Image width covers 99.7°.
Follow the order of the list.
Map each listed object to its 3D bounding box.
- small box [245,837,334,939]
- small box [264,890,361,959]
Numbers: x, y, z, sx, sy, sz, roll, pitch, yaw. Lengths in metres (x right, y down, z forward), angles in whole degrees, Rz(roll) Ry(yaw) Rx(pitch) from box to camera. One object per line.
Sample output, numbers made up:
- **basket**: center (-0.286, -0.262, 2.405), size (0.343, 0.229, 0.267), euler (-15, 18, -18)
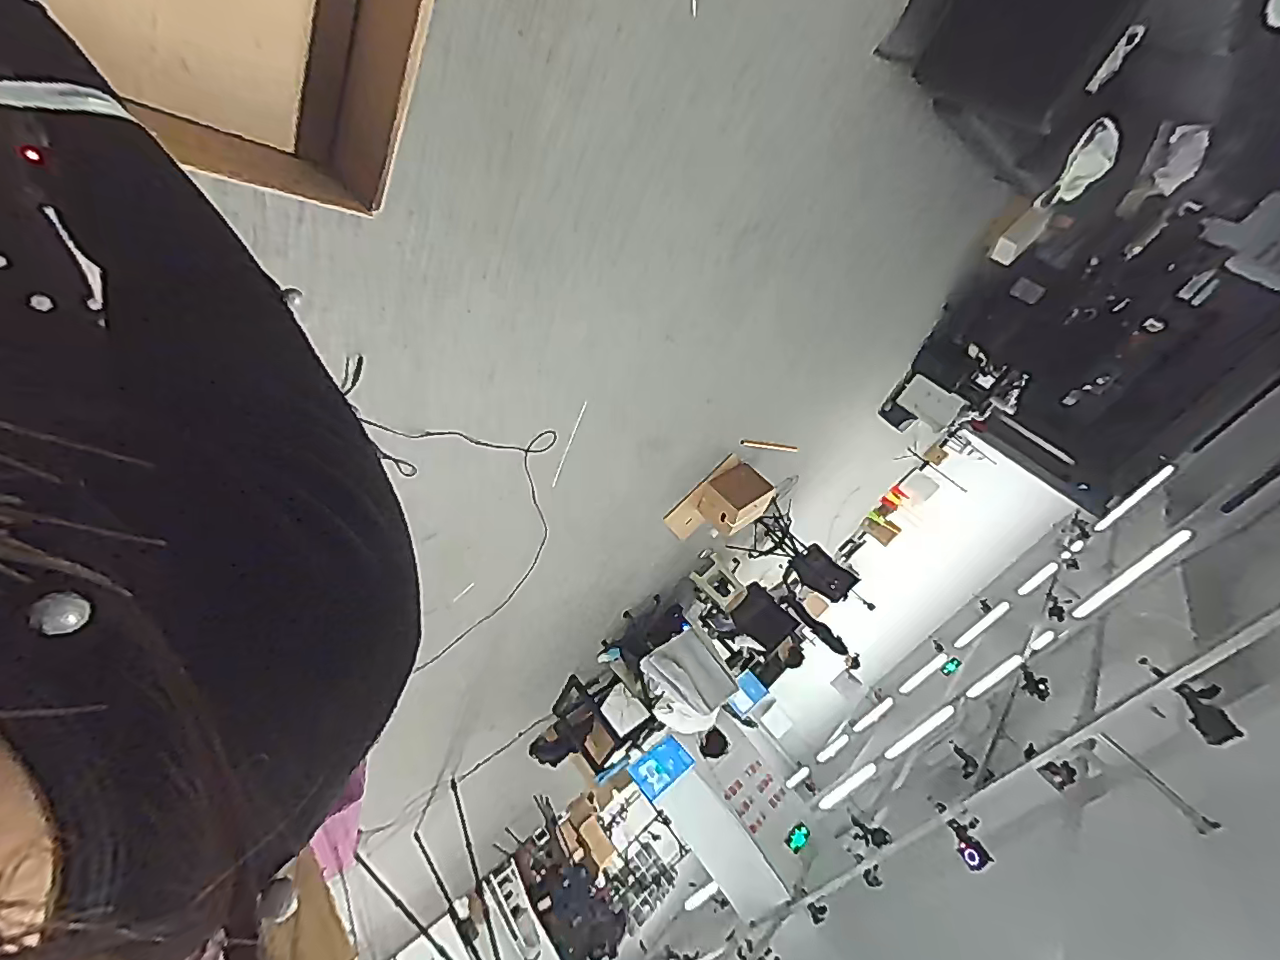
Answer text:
- **small box**: center (-0.967, 1.132, 1.493), size (0.168, 0.176, 0.179), euler (-18, 145, -43)
- **small box**: center (-0.861, 1.236, 1.428), size (0.179, 0.176, 0.168), euler (-19, 145, -41)
